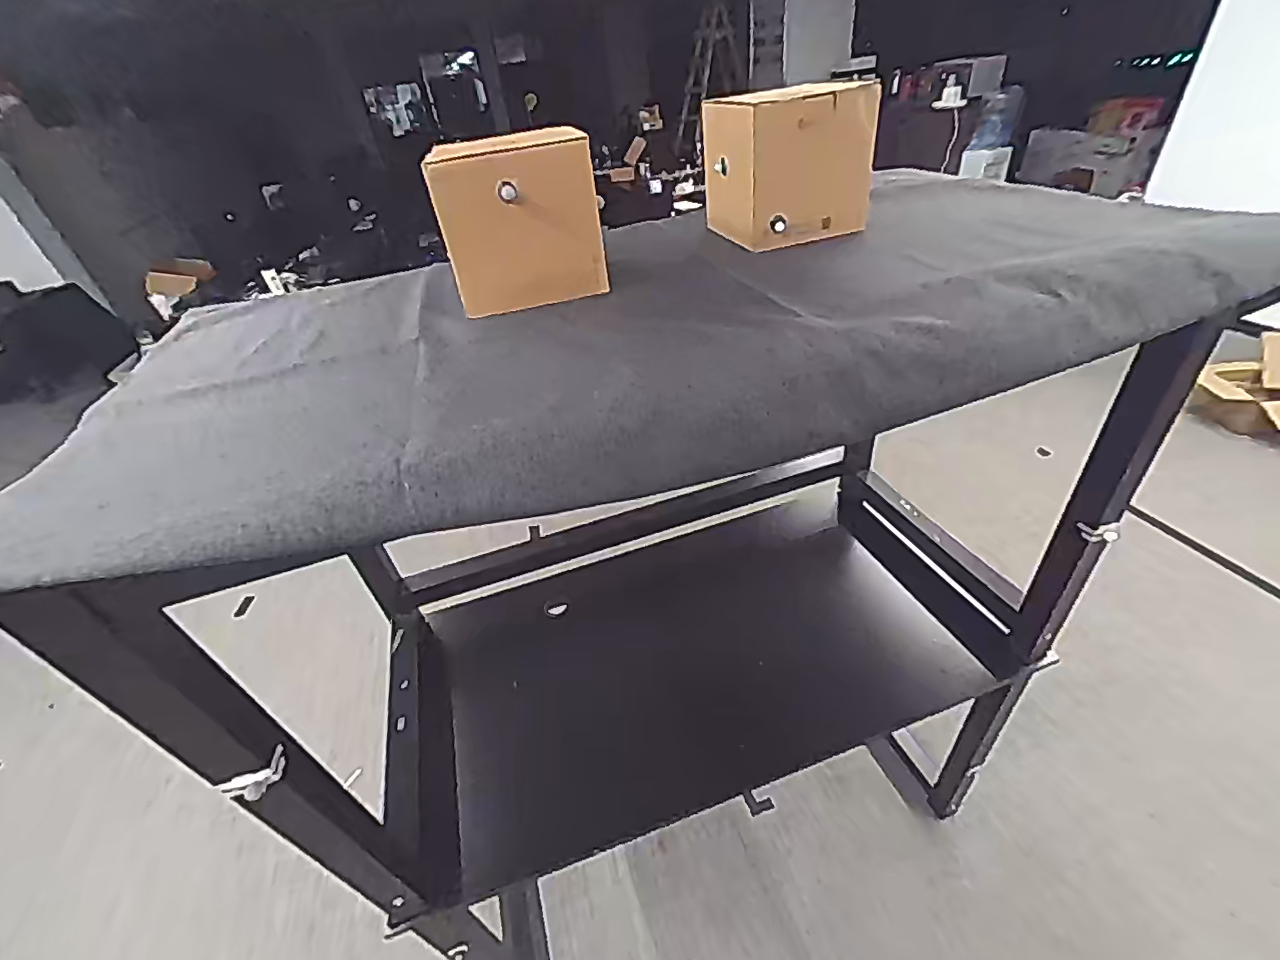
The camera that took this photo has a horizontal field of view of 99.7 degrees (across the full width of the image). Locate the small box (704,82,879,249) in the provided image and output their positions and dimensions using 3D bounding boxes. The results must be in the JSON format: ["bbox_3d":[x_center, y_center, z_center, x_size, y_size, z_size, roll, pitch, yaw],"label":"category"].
[{"bbox_3d":[0.197,-0.430,0.743,0.168,0.176,0.179,-14,37,-8],"label":"small box"}]

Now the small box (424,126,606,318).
[{"bbox_3d":[-0.143,-0.318,0.665,0.179,0.176,0.168,-13,38,-6],"label":"small box"}]
